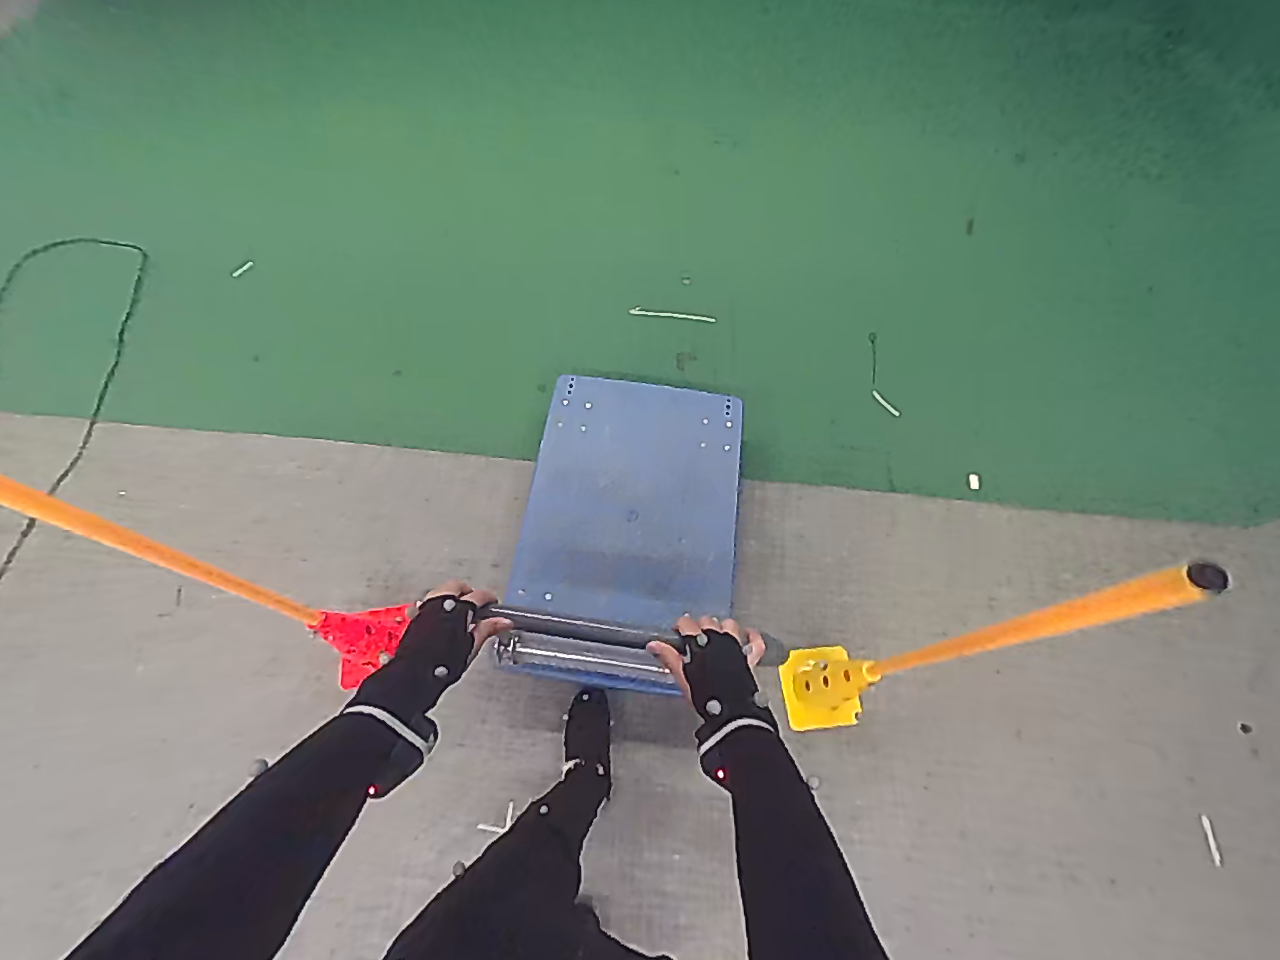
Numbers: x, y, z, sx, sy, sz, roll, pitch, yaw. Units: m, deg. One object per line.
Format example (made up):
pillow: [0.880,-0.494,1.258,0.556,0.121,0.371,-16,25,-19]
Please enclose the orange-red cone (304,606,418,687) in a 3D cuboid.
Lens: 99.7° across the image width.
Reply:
orange-red cone: [-0.699,0.370,1.301,0.199,0.360,0.198,-8,64,-5]
